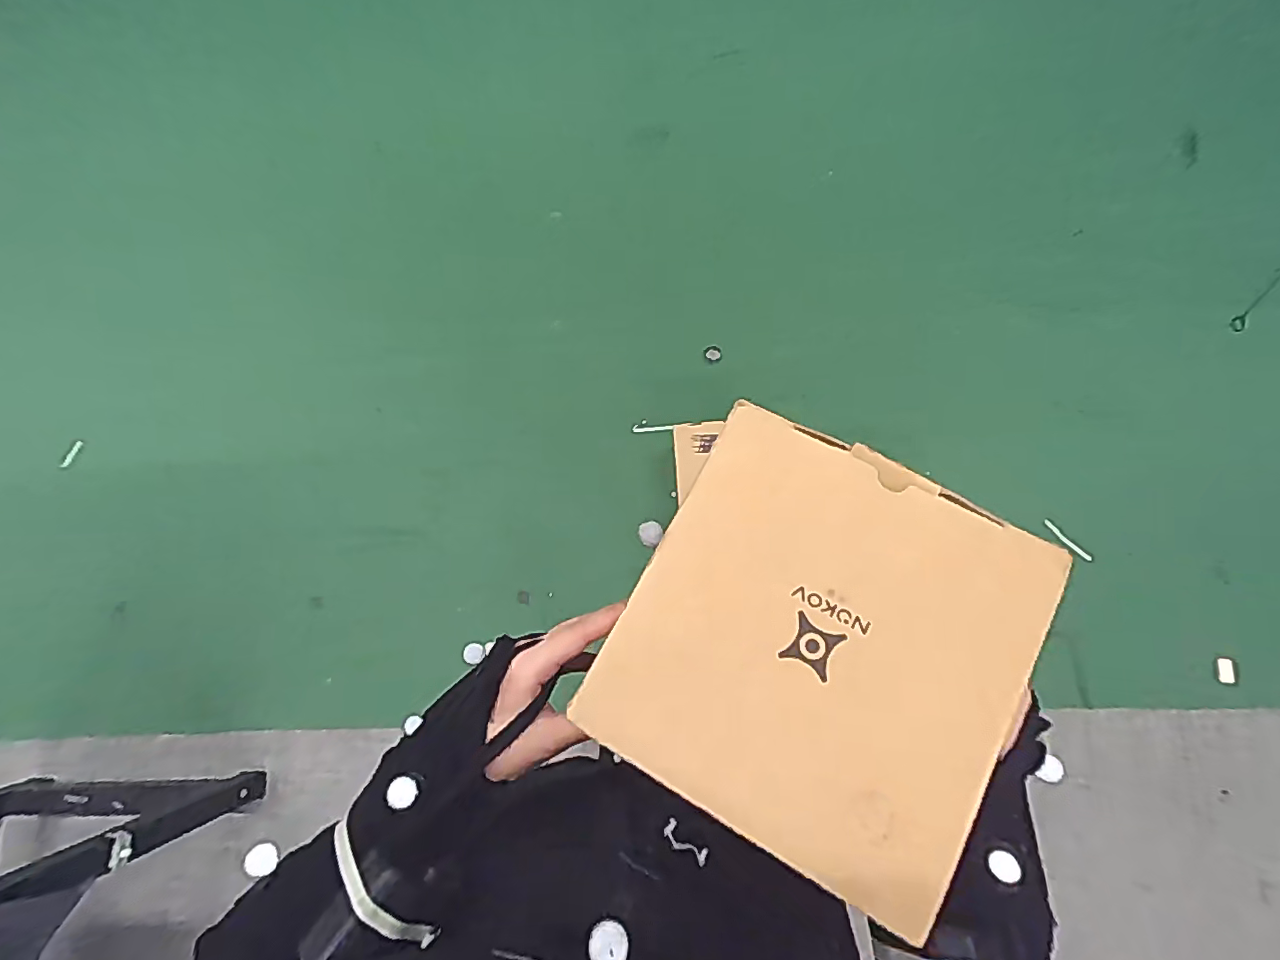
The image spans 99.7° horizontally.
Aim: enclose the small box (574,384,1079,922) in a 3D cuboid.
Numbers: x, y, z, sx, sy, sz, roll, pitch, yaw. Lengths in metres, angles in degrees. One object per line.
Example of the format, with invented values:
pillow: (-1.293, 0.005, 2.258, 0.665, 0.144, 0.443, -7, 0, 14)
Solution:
small box: (0.089, 0.081, 0.314, 0.168, 0.176, 0.179, 27, 79, 12)
